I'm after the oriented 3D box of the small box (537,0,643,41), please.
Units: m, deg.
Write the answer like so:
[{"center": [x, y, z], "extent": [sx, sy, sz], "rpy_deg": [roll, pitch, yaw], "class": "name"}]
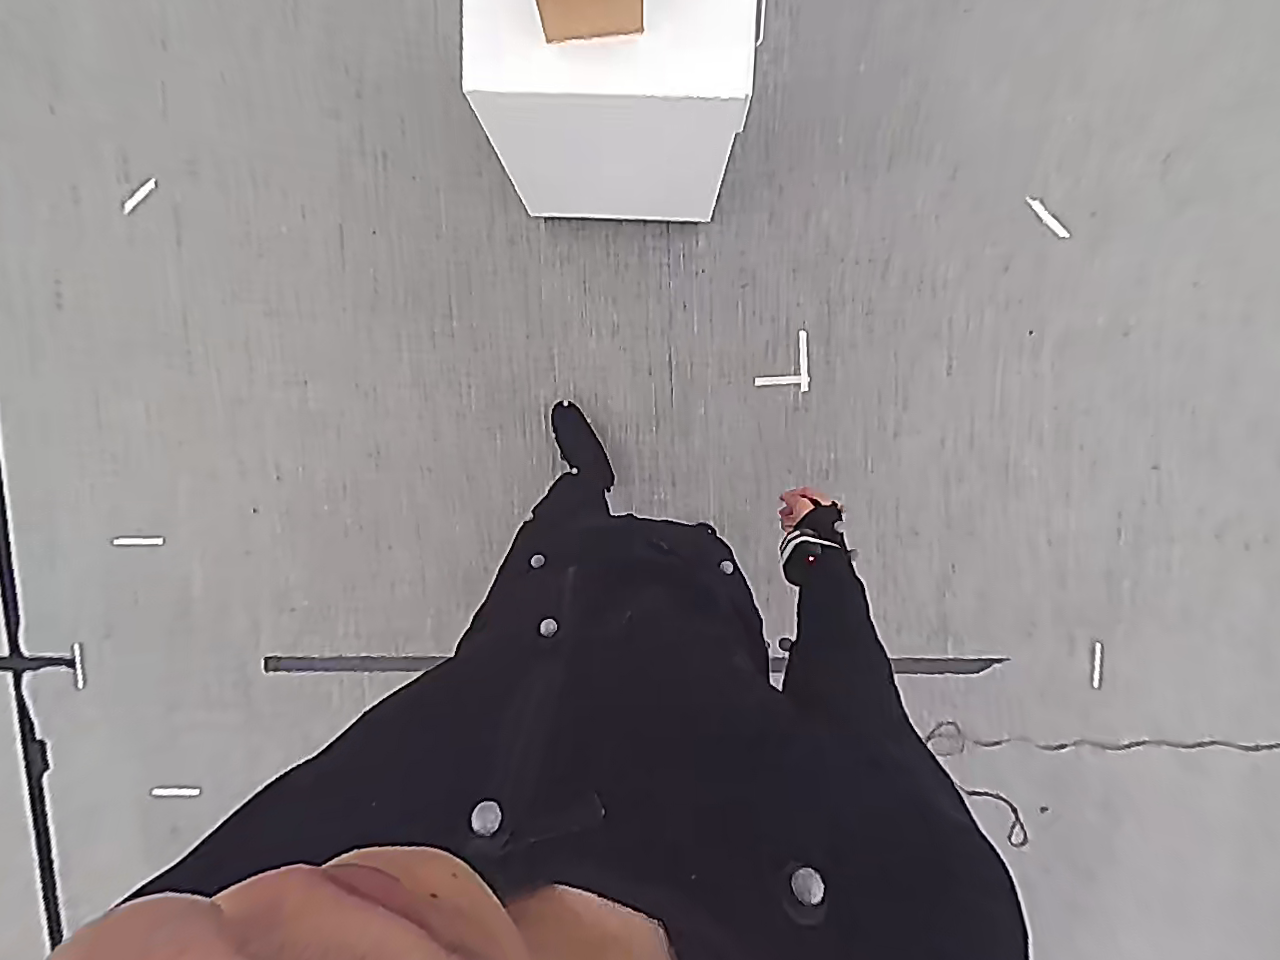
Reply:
[{"center": [-0.088, -0.852, 0.869], "extent": [0.179, 0.176, 0.168], "rpy_deg": [-6, 95, 0], "class": "small box"}]
